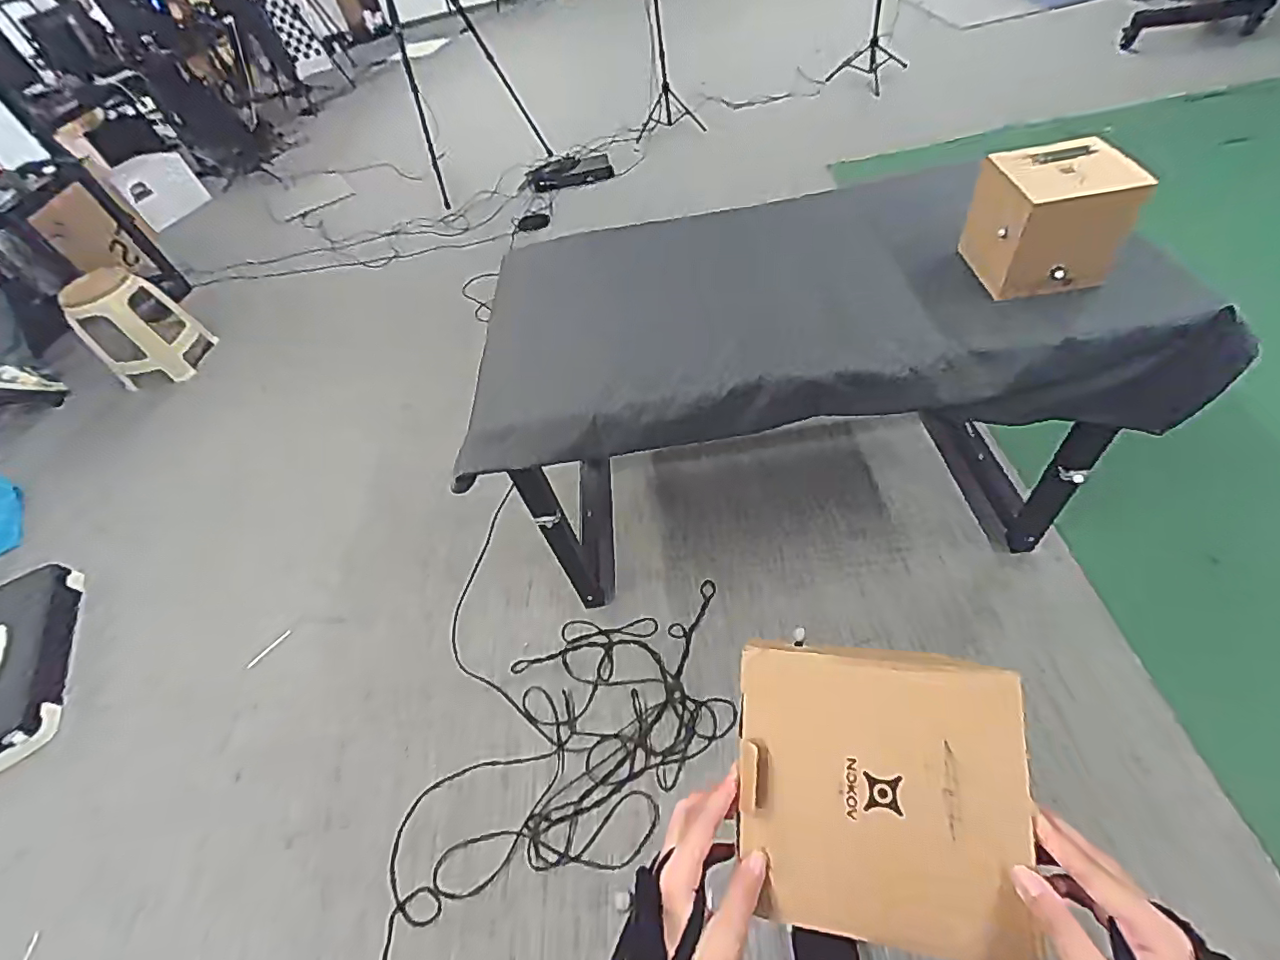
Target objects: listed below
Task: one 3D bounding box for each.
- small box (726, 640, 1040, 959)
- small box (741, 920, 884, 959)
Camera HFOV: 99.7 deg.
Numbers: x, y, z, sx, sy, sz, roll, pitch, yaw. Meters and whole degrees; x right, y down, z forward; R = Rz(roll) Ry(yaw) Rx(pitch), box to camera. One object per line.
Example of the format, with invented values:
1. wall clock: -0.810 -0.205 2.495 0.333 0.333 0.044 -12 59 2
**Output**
1. small box: 0.162 0.215 0.414 0.179 0.176 0.168 1 76 12
2. small box: 0.279 0.819 0.877 0.179 0.168 0.176 38 95 19
